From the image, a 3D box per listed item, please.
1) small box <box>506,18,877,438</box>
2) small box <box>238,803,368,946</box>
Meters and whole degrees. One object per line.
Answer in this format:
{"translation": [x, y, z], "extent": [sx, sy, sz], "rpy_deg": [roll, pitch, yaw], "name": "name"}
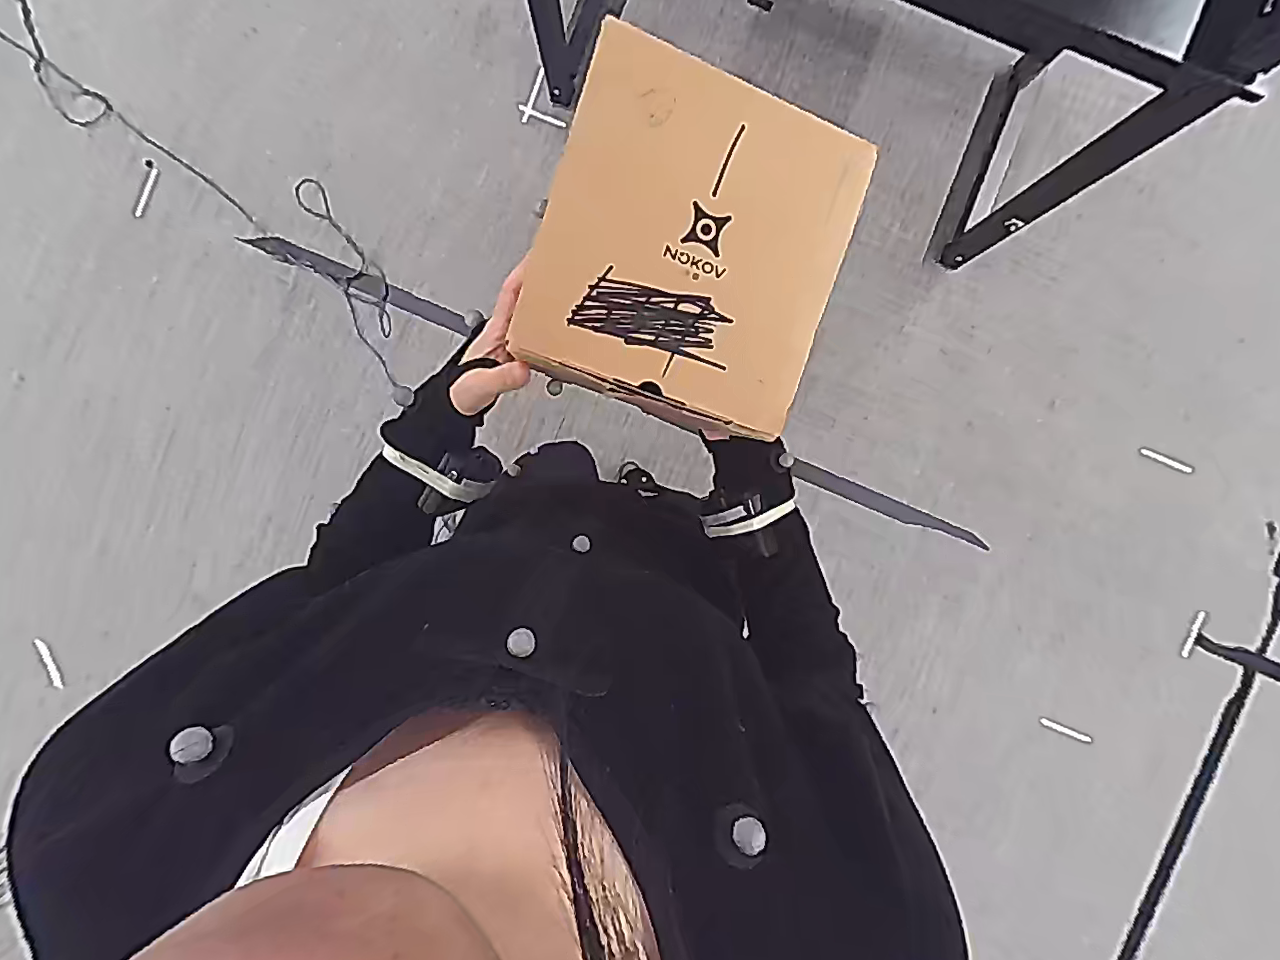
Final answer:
{"translation": [0.019, -0.140, 0.373], "extent": [0.168, 0.176, 0.179], "rpy_deg": [18, 94, -12], "name": "small box"}
{"translation": [-0.773, 0.910, 1.262], "extent": [0.168, 0.176, 0.179], "rpy_deg": [25, 90, -1], "name": "small box"}
